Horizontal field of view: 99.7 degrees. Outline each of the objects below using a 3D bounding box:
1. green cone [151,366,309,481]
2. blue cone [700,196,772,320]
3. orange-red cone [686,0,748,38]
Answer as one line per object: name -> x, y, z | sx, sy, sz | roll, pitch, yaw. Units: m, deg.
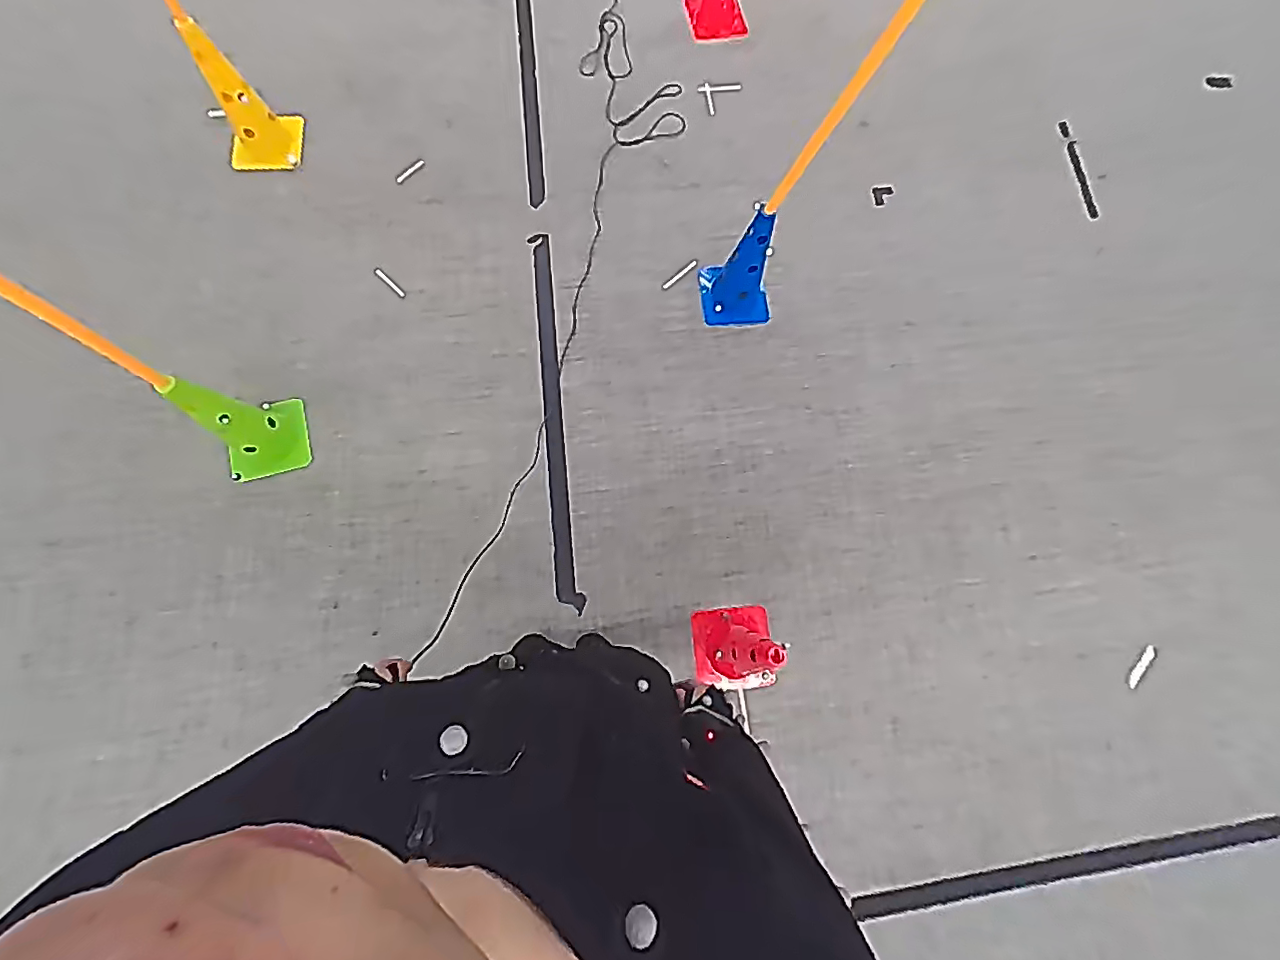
green cone -> -0.976, -0.158, 1.265 | 0.200, 0.368, 0.202 | -16, 75, -8
blue cone -> 0.293, -0.614, 1.482 | 0.193, 0.380, 0.192 | -3, 75, -5
orange-red cone -> 0.281, -1.691, 1.752 | 0.199, 0.360, 0.198 | -11, 76, -5
